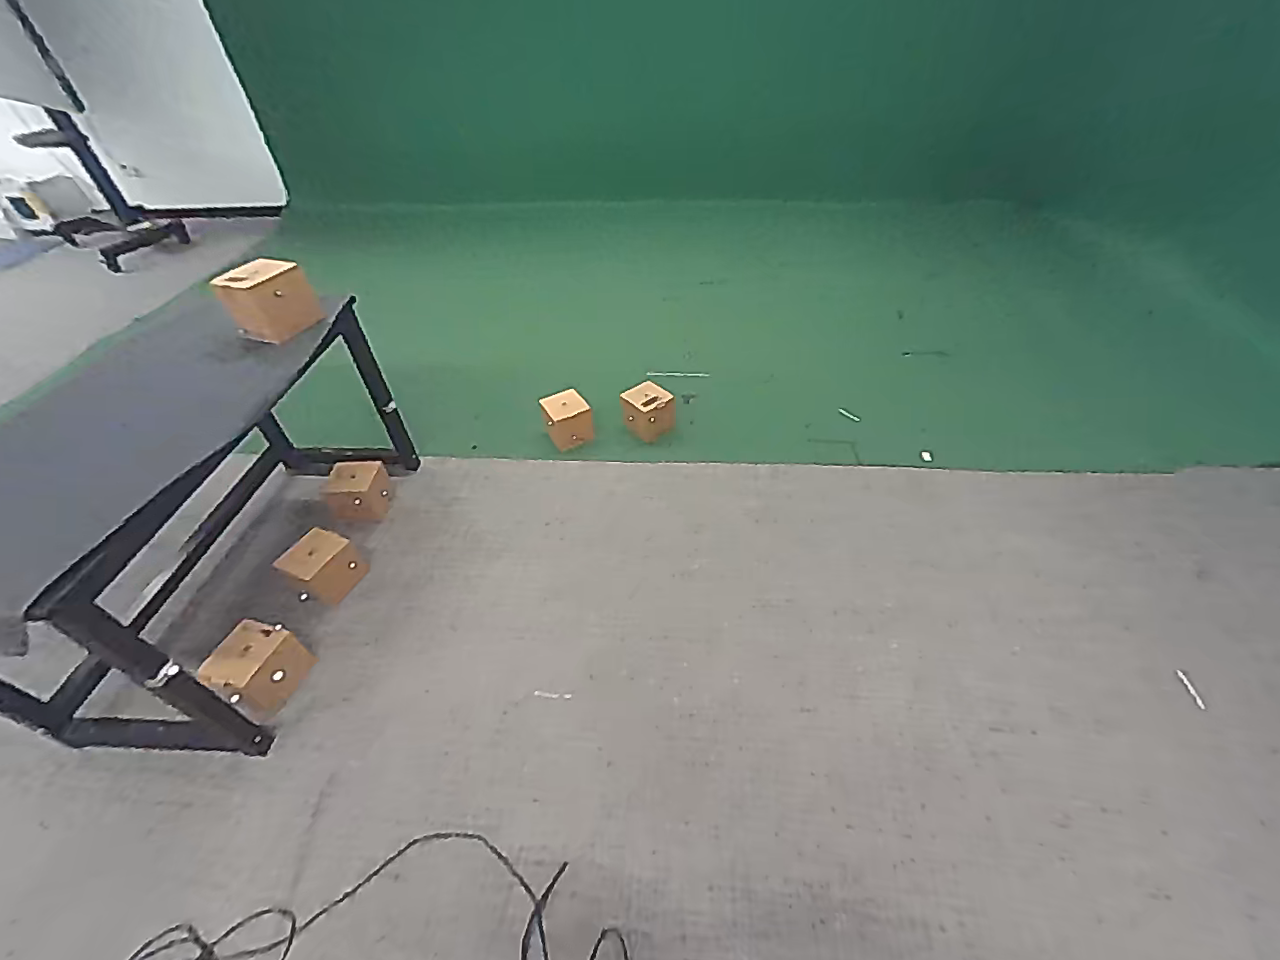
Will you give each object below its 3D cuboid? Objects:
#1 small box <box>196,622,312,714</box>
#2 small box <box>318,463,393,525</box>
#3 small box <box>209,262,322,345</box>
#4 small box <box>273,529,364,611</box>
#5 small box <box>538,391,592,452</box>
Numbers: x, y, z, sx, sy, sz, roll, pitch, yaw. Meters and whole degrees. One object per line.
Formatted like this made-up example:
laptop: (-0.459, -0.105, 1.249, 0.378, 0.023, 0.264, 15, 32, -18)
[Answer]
small box: (-1.086, 0.539, 1.541, 0.168, 0.176, 0.179, 10, 46, 13)
small box: (-1.061, 0.055, 2.038, 0.179, 0.176, 0.168, -2, 43, 1)
small box: (-1.077, -0.511, 1.571, 0.168, 0.176, 0.179, 15, 48, 21)
small box: (-1.049, 0.299, 1.788, 0.168, 0.176, 0.179, 15, 48, 19)
small box: (-0.320, -0.251, 2.322, 0.168, 0.176, 0.179, -24, 48, -21)
